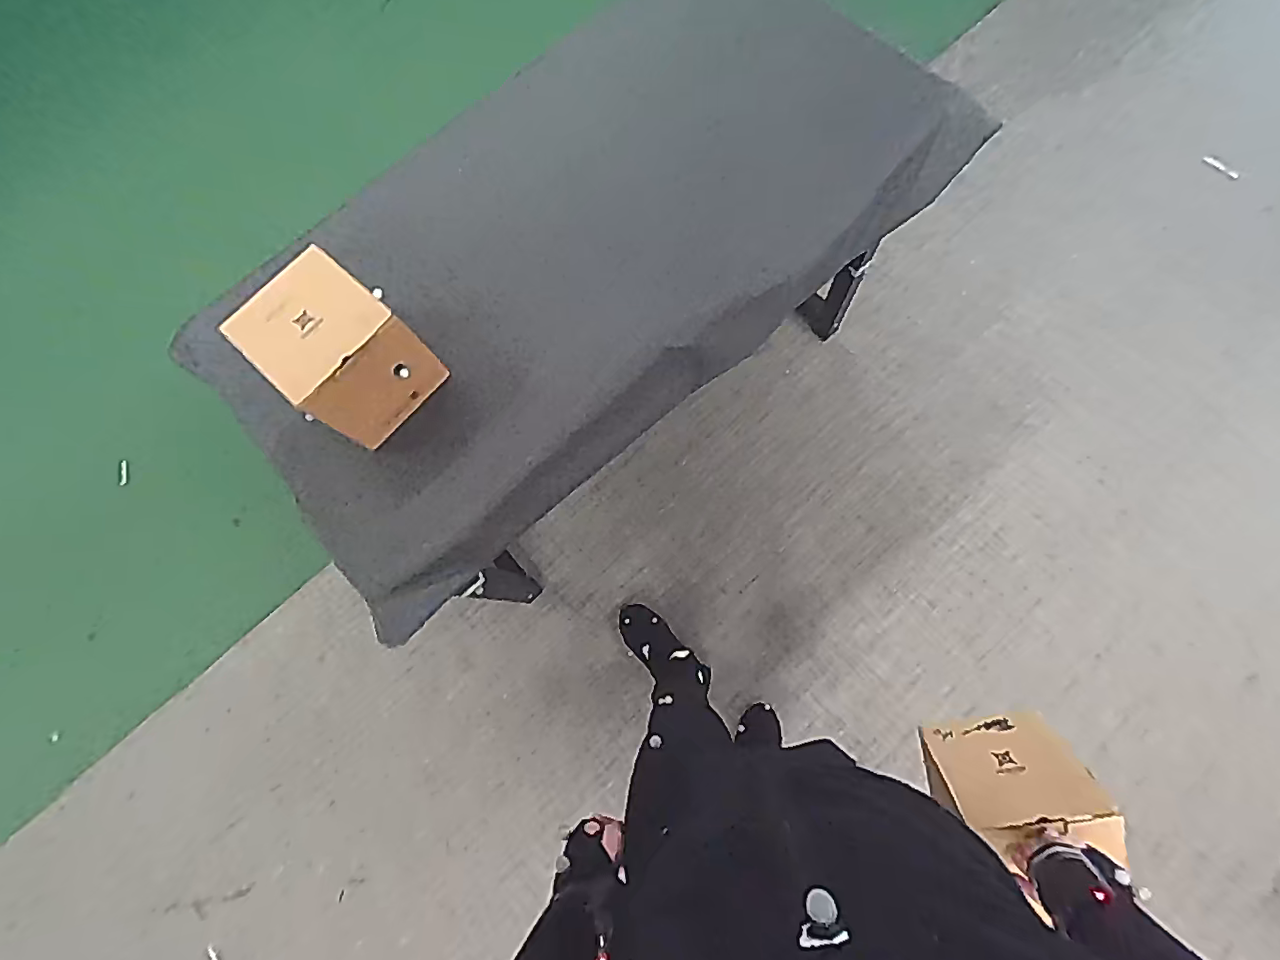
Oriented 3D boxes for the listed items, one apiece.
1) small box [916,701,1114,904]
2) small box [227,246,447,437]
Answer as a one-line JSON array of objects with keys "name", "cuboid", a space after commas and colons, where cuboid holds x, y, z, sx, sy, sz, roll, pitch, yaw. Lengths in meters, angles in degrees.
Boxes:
[{"name": "small box", "cuboid": [0.502, 0.438, 0.736, 0.168, 0.179, 0.176, -13, 107, 12]}, {"name": "small box", "cuboid": [-0.411, -0.181, 0.767, 0.179, 0.176, 0.168, 39, 80, 14]}]
